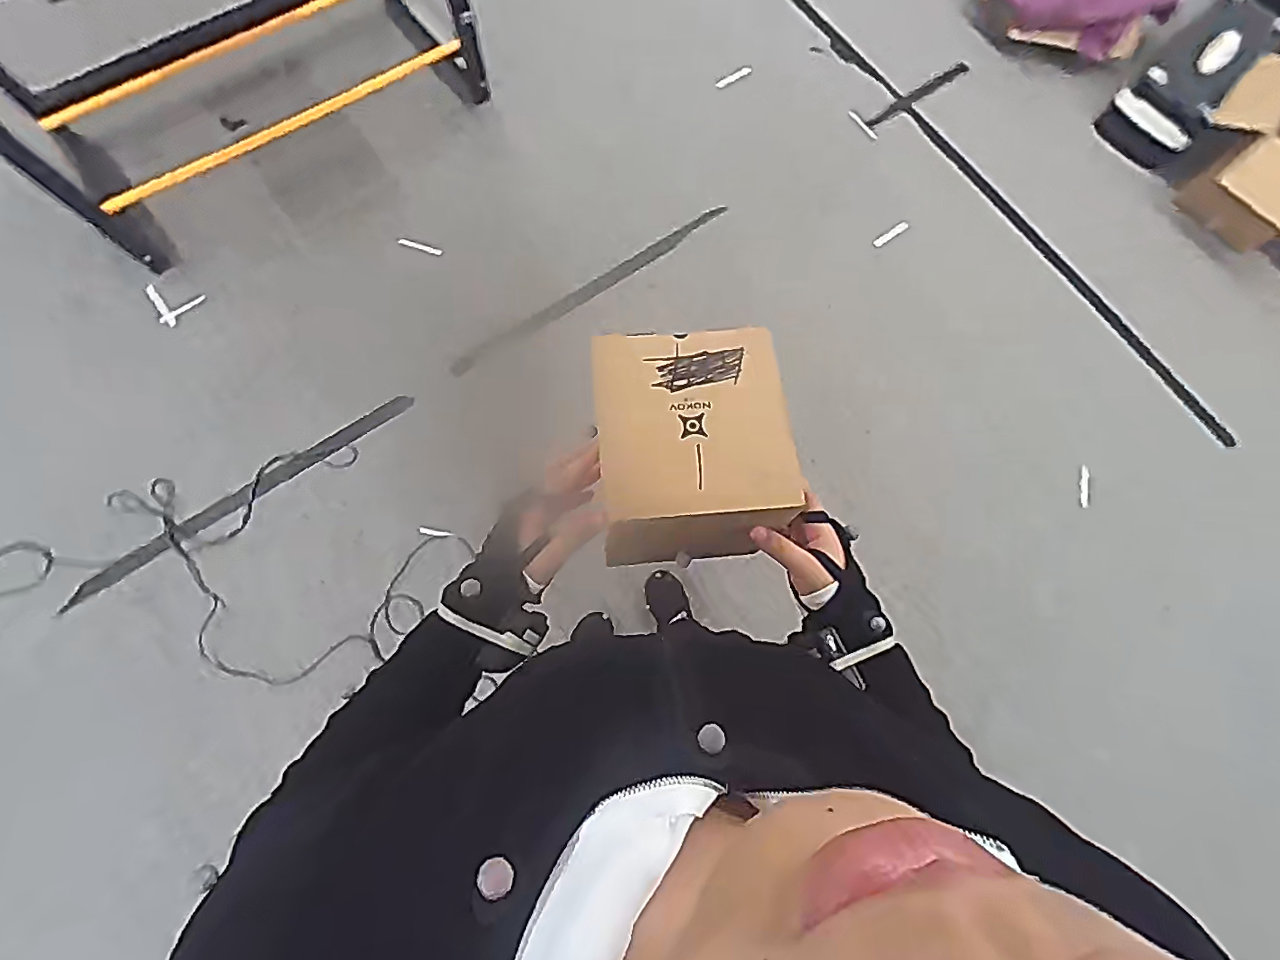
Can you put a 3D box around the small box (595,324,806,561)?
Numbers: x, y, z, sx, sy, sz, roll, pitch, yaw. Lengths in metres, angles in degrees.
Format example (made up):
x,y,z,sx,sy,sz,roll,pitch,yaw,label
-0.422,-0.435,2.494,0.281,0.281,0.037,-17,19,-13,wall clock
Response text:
x,y,z,sx,sy,sz,roll,pitch,yaw,label
0.042,-0.029,0.533,0.168,0.176,0.179,-5,70,-4,small box
